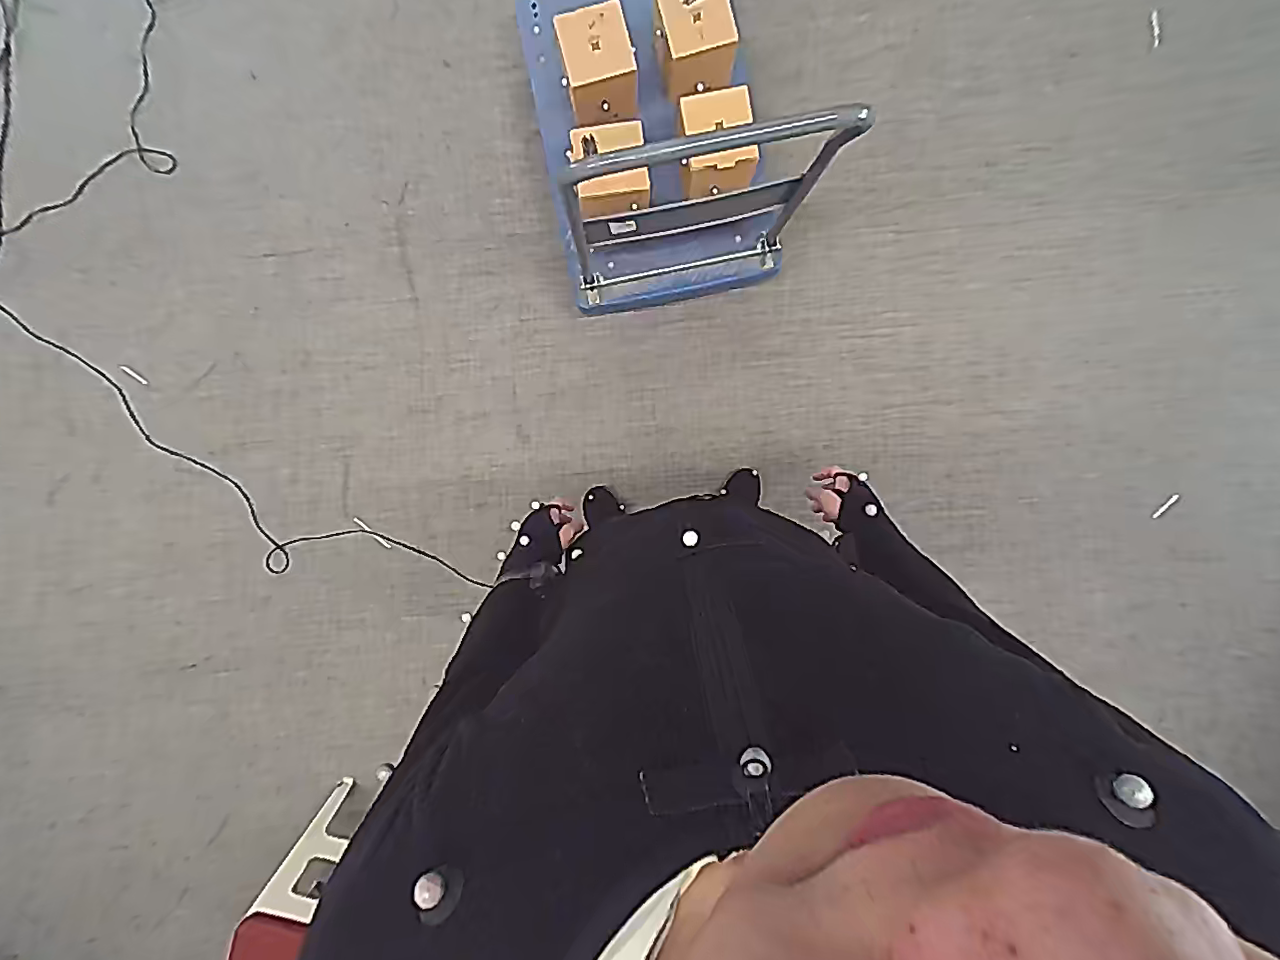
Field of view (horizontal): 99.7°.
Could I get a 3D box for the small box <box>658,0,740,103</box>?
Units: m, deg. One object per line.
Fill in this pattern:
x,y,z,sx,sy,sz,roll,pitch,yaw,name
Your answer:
0.142,-1.115,1.376,0.168,0.176,0.179,-15,92,2,small box

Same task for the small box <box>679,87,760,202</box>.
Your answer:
0.196,-0.850,1.382,0.168,0.176,0.179,-11,91,1,small box

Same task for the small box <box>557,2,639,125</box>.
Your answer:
-0.101,-1.048,1.382,0.168,0.176,0.179,-15,91,0,small box
